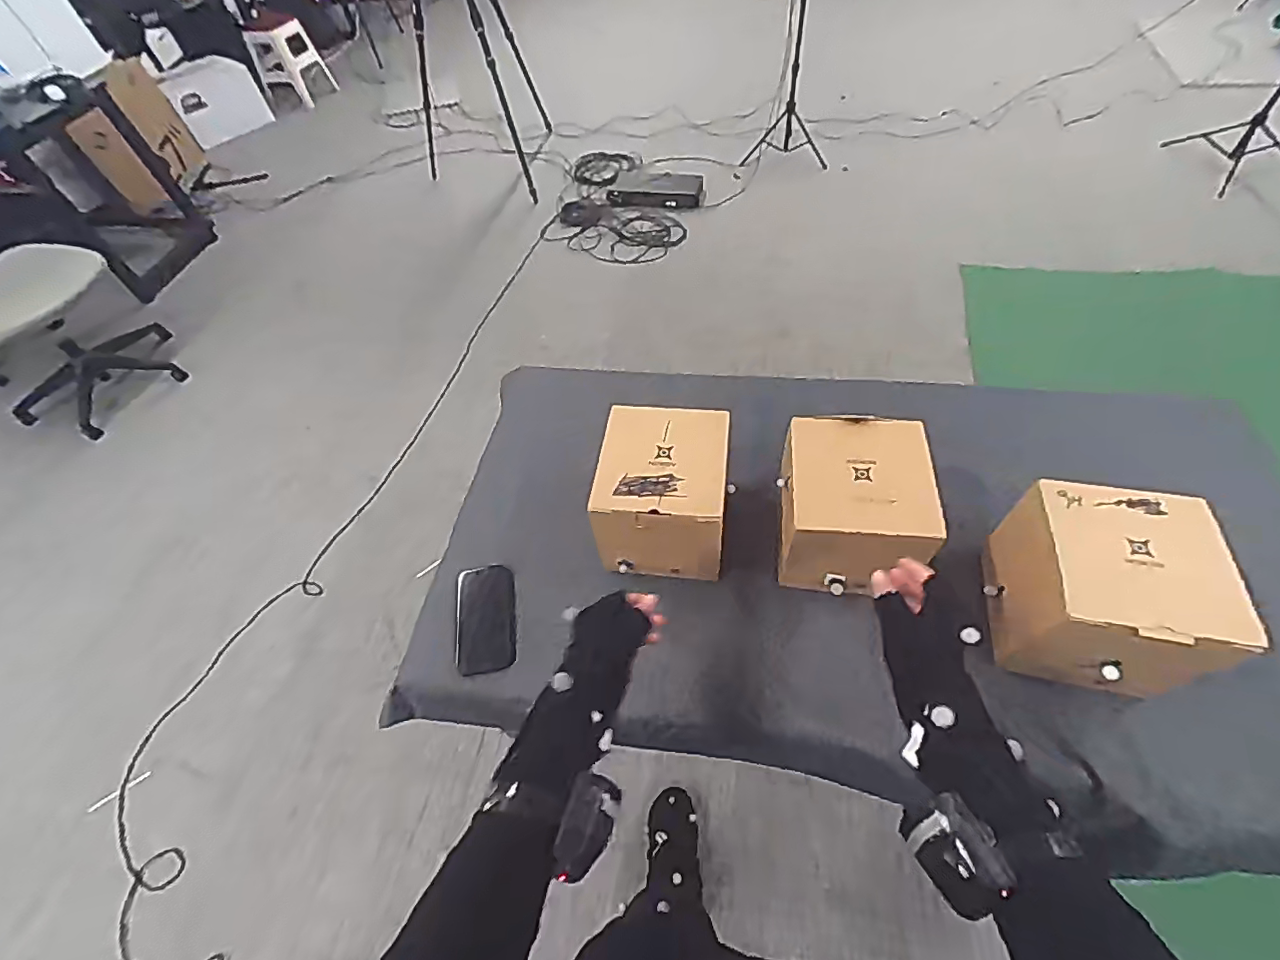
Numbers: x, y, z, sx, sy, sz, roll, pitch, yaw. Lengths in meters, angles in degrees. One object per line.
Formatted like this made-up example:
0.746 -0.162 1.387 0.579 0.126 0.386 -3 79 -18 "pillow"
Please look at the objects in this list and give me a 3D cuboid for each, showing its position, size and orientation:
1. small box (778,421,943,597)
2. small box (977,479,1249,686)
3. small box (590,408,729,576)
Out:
0.280 0.040 0.732 0.168 0.176 0.179 2 56 9 "small box"
0.527 0.126 0.640 0.168 0.176 0.179 9 56 11 "small box"
0.037 0.020 0.765 0.168 0.176 0.179 4 54 9 "small box"
